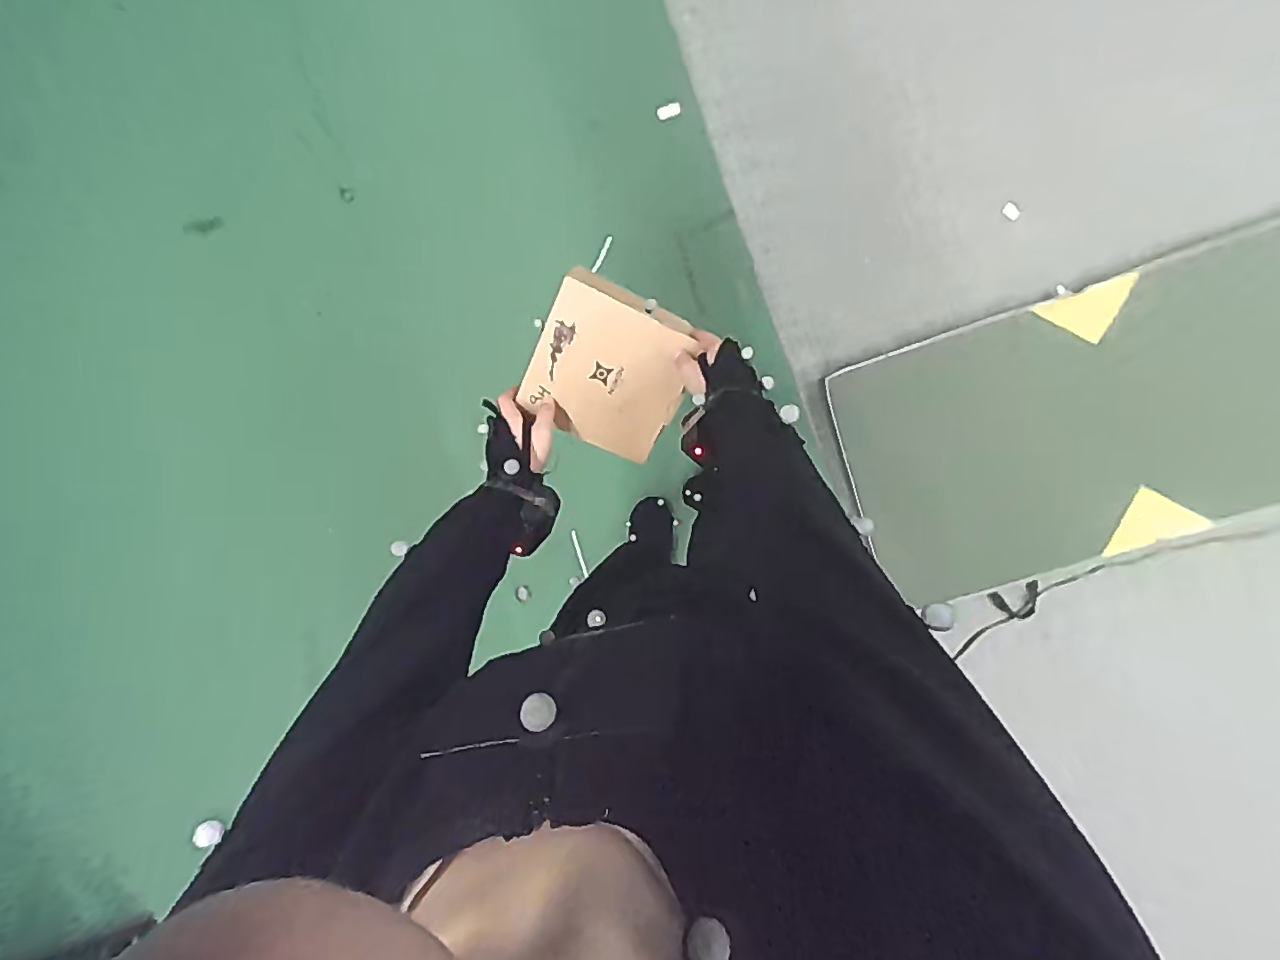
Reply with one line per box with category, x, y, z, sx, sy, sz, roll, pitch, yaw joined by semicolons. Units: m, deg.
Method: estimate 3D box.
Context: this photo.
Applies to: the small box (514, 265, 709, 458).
small box;-0.037;-0.159;0.689;0.179;0.176;0.168;24;111;-13
